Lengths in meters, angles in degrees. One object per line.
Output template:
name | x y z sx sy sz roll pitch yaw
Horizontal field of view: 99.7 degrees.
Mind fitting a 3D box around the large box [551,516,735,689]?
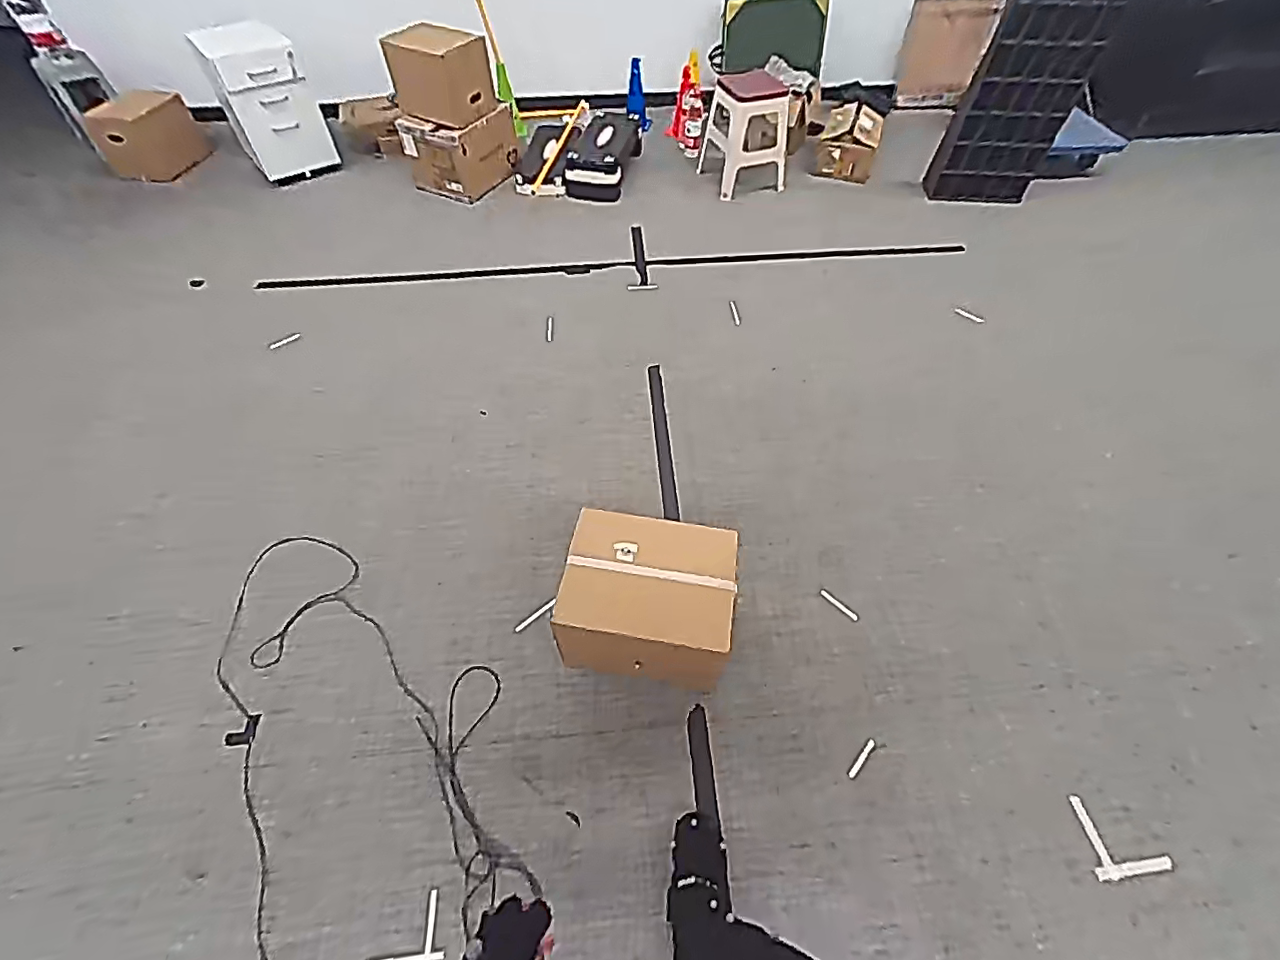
large box | 0.022 0.323 1.401 0.408 0.320 0.320 8 53 6
